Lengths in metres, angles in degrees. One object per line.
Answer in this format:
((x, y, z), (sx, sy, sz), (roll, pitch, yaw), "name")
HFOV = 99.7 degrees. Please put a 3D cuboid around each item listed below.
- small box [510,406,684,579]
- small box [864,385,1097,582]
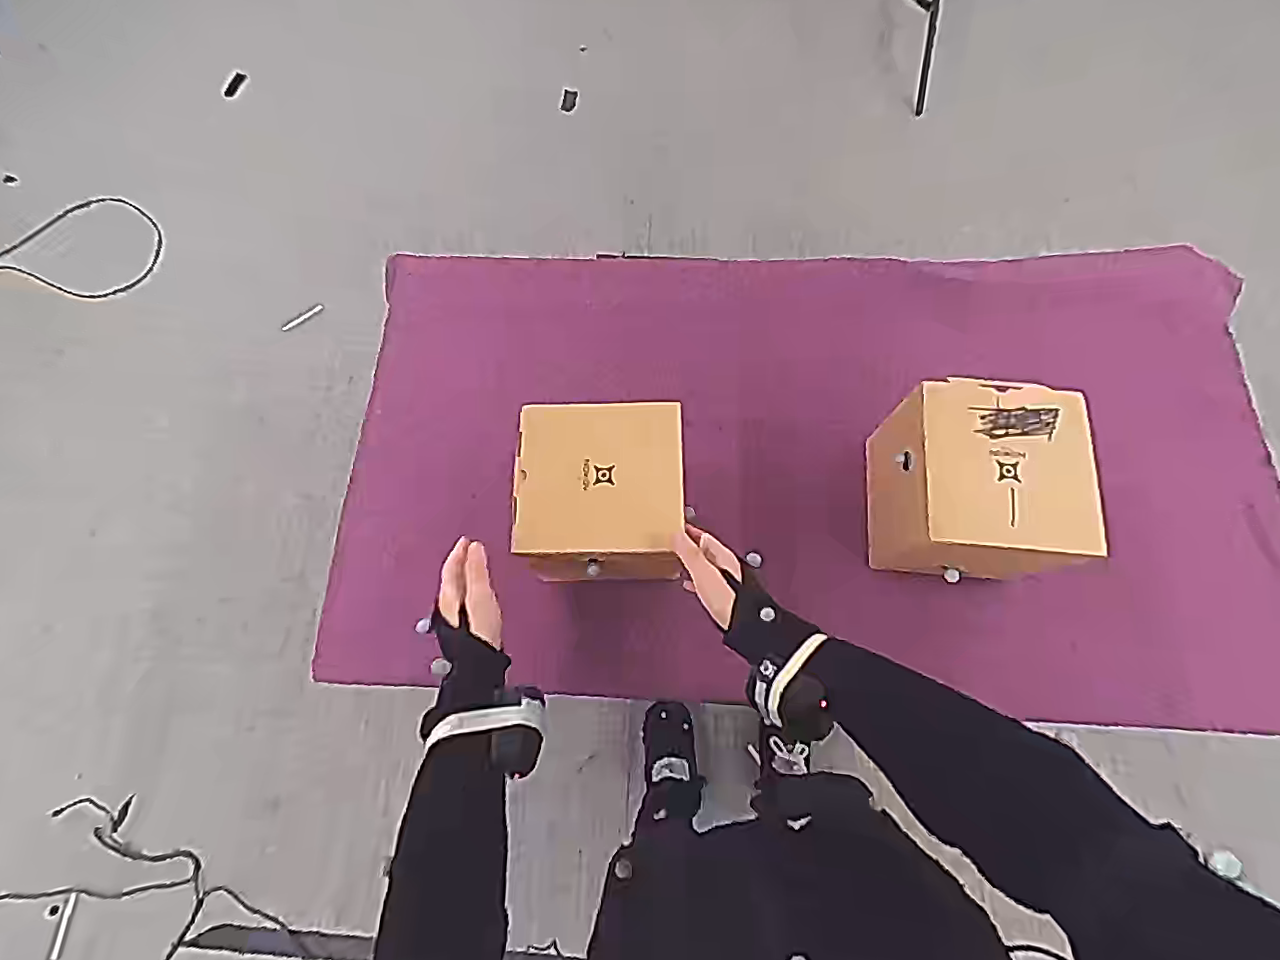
((-0.041, 0.022, 0.639), (0.179, 0.176, 0.168), (-1, 71, 3), "small box")
((0.370, 0.012, 0.624), (0.168, 0.176, 0.179), (5, 73, 5), "small box")
